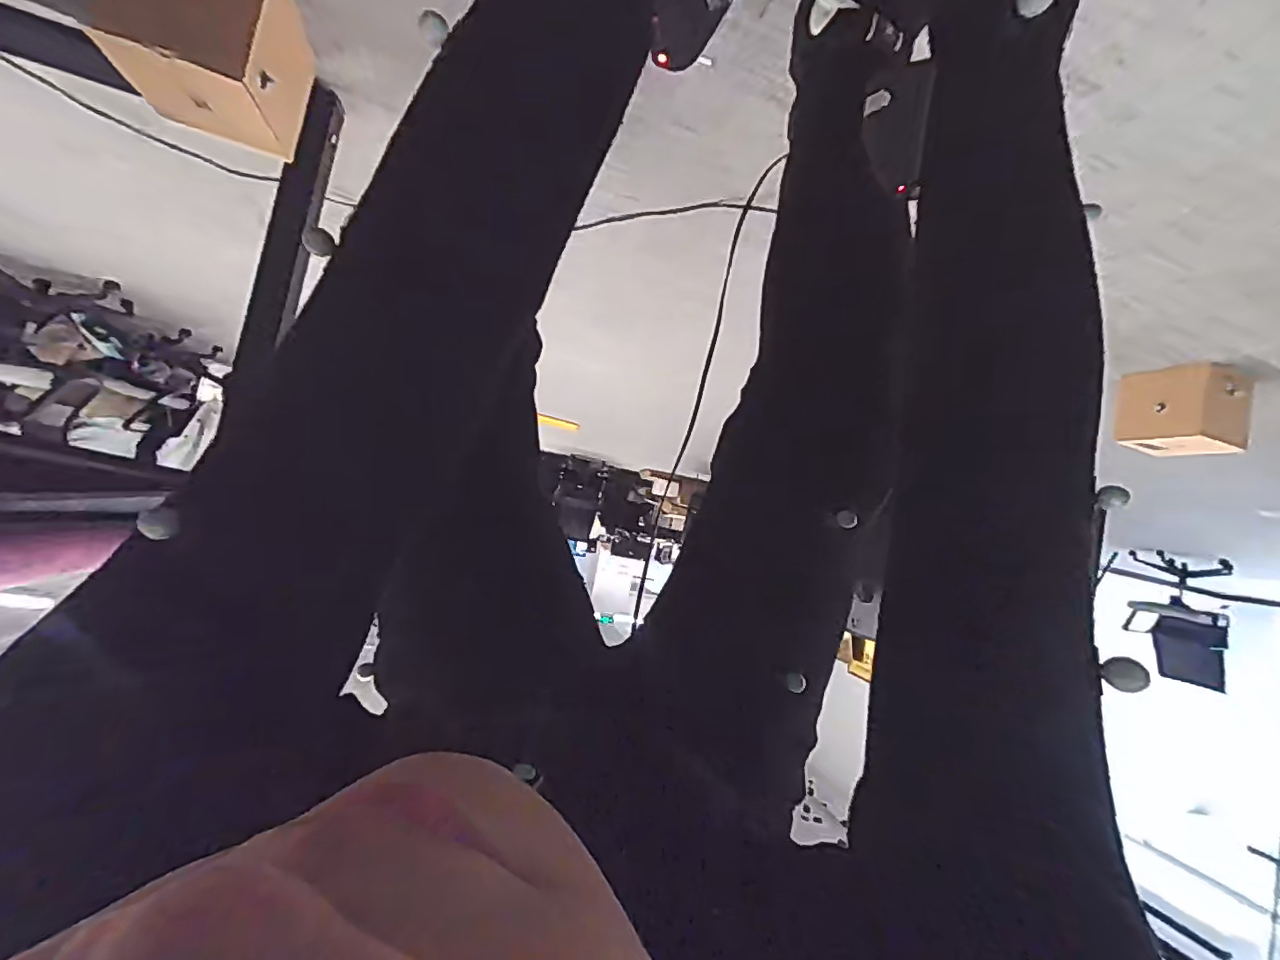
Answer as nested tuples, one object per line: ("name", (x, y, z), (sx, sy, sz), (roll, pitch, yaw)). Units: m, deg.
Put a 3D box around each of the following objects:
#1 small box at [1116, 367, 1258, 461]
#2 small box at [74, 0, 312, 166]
("small box", (1.275, -0.148, 1.262), (0.168, 0.176, 0.179), (12, 175, -16))
("small box", (-0.556, -0.563, 0.705), (0.168, 0.176, 0.179), (12, 175, -15))
